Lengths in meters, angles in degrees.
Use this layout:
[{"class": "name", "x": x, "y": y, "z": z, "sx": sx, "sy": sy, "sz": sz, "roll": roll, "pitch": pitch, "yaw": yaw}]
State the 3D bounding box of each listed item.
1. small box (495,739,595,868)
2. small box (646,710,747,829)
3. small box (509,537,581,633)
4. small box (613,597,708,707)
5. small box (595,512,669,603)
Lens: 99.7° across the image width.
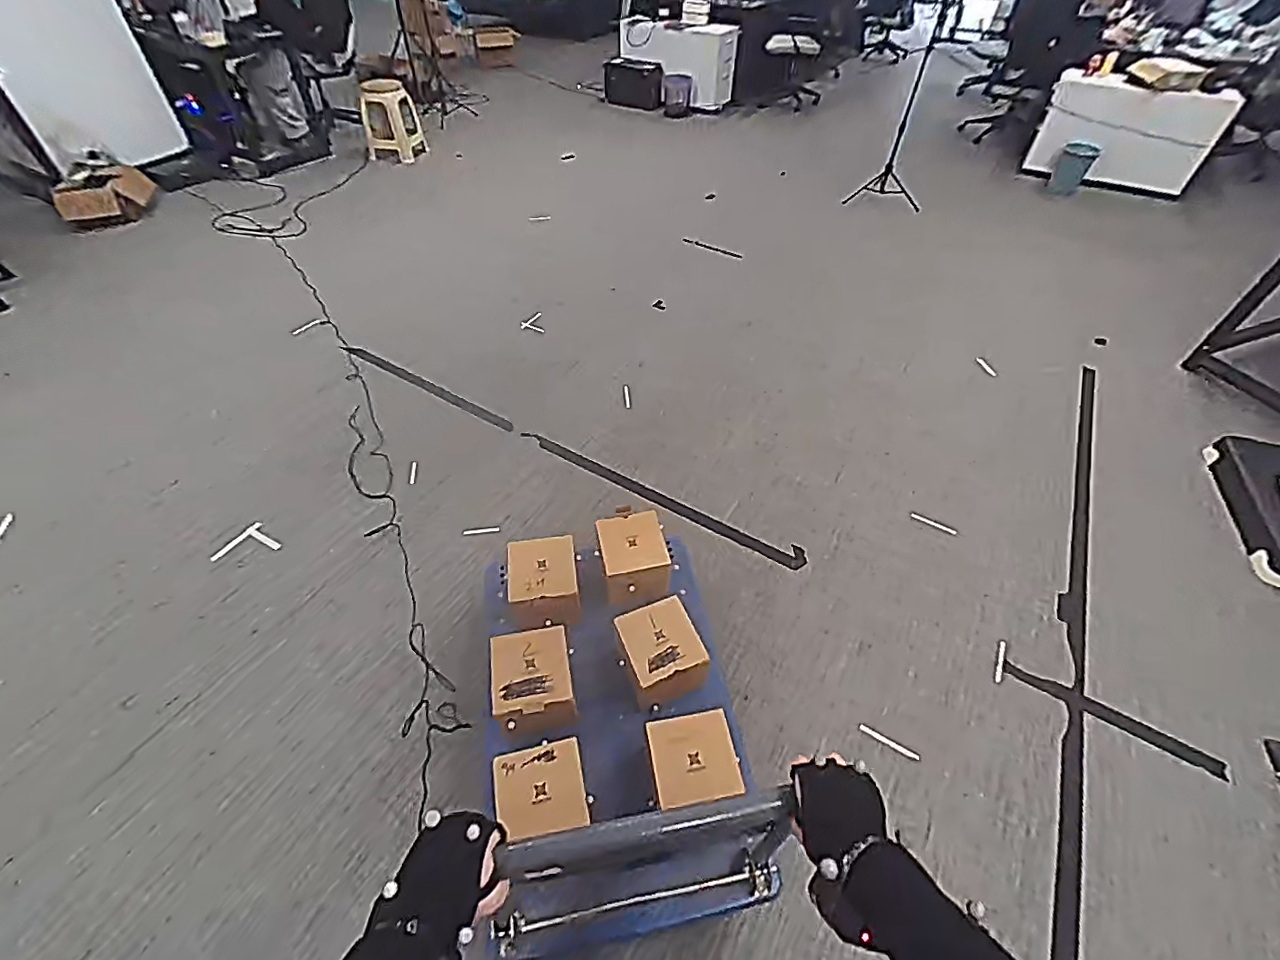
[{"class": "small box", "x": -0.185, "y": 0.644, "z": 1.069, "sx": 0.168, "sy": 0.176, "sz": 0.179, "roll": -9, "pitch": 50, "yaw": -11}, {"class": "small box", "x": 0.108, "y": 0.601, "z": 1.115, "sx": 0.168, "sy": 0.176, "sz": 0.179, "roll": -7, "pitch": 49, "yaw": -7}, {"class": "small box", "x": -0.244, "y": 0.272, "z": 1.396, "sx": 0.168, "sy": 0.176, "sz": 0.179, "roll": -6, "pitch": 50, "yaw": -6}, {"class": "small box", "x": 0.045, "y": 0.413, "z": 1.279, "sx": 0.168, "sy": 0.176, "sz": 0.179, "roll": -17, "pitch": 50, "yaw": -16}, {"class": "small box", "x": -0.023, "y": 0.215, "z": 1.453, "sx": 0.168, "sy": 0.176, "sz": 0.179, "roll": -10, "pitch": 50, "yaw": -10}]
